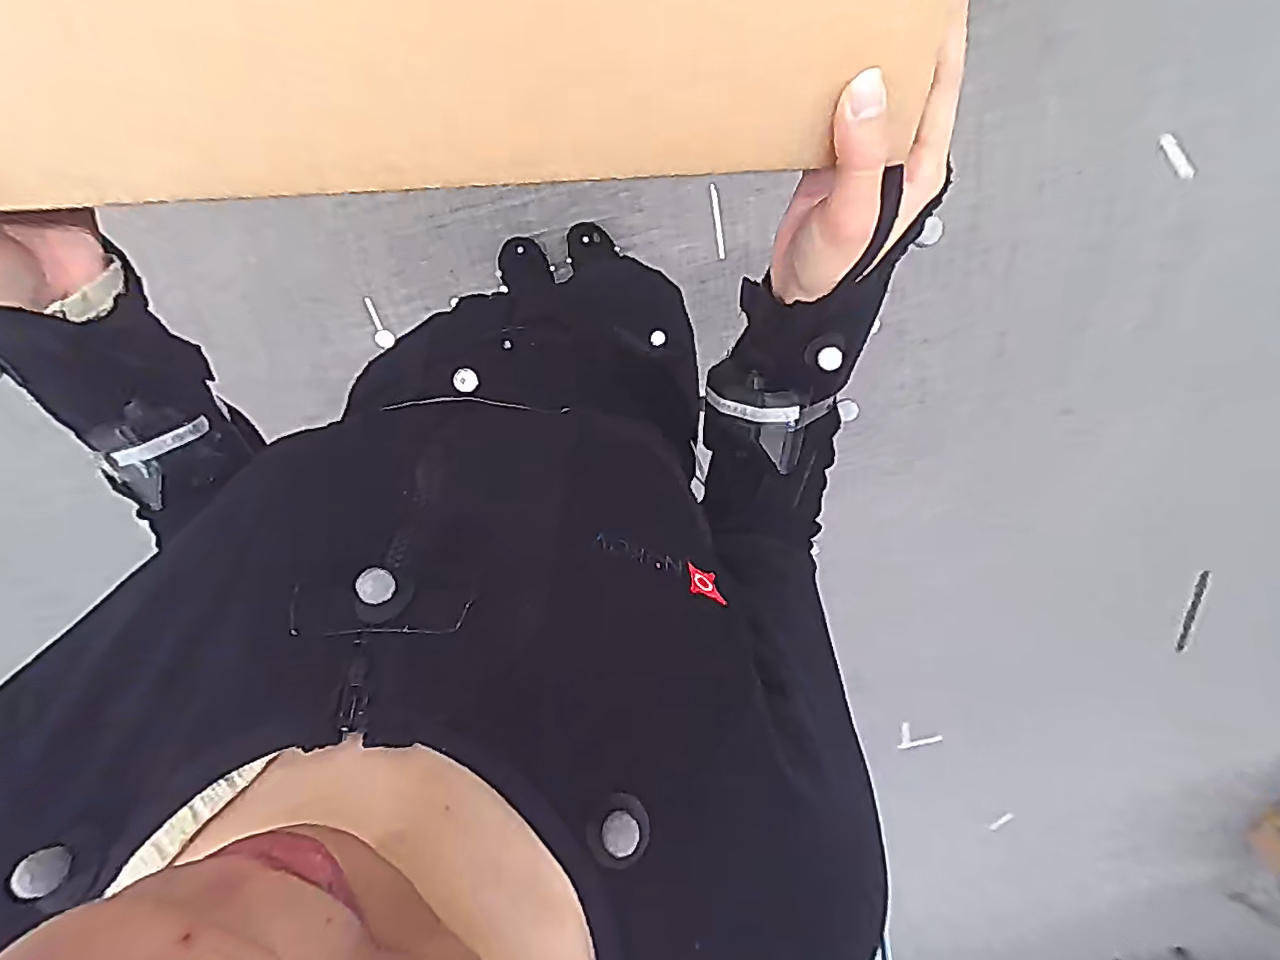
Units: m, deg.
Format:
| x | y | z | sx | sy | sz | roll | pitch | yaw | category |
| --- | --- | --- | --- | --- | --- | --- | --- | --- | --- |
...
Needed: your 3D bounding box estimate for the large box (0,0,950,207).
| x | y | z | sx | sy | sz | roll | pitch | yaw | category |
| --- | --- | --- | --- | --- | --- | --- | --- | --- | --- |
| -0.097 | -0.342 | 0.223 | 0.408 | 0.320 | 0.320 | -4 | 138 | -1 | large box |
